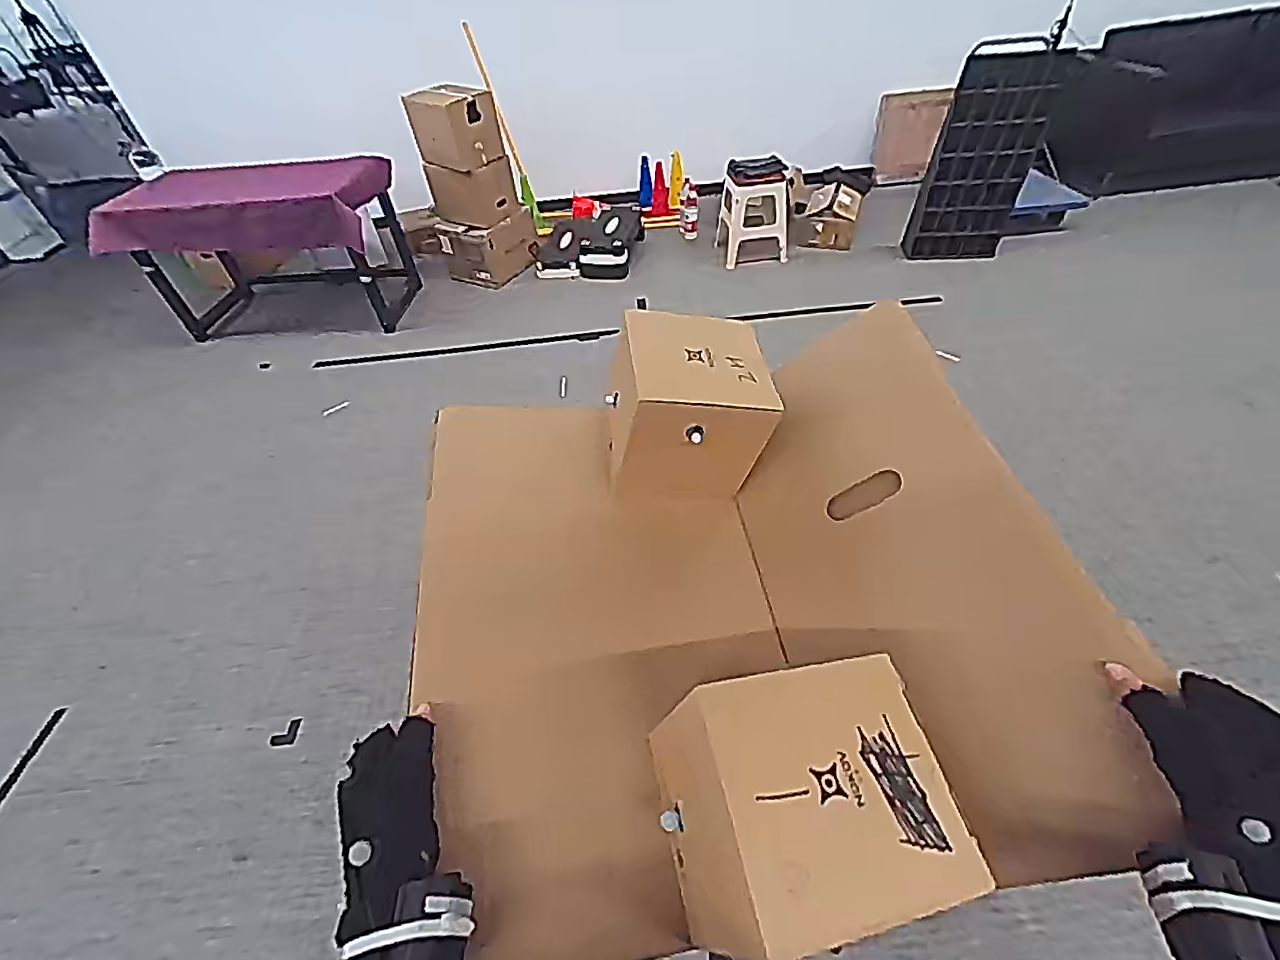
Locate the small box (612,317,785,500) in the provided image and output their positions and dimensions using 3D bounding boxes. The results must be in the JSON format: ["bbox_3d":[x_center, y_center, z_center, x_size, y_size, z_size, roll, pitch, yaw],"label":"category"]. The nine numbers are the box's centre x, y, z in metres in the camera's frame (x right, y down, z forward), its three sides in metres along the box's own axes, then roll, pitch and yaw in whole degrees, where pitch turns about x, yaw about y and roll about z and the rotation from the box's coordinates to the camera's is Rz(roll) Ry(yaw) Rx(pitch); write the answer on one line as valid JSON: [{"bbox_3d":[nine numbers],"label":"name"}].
[{"bbox_3d":[0.060,-0.087,0.710,0.179,0.176,0.168,3,52,-13],"label":"small box"}]
